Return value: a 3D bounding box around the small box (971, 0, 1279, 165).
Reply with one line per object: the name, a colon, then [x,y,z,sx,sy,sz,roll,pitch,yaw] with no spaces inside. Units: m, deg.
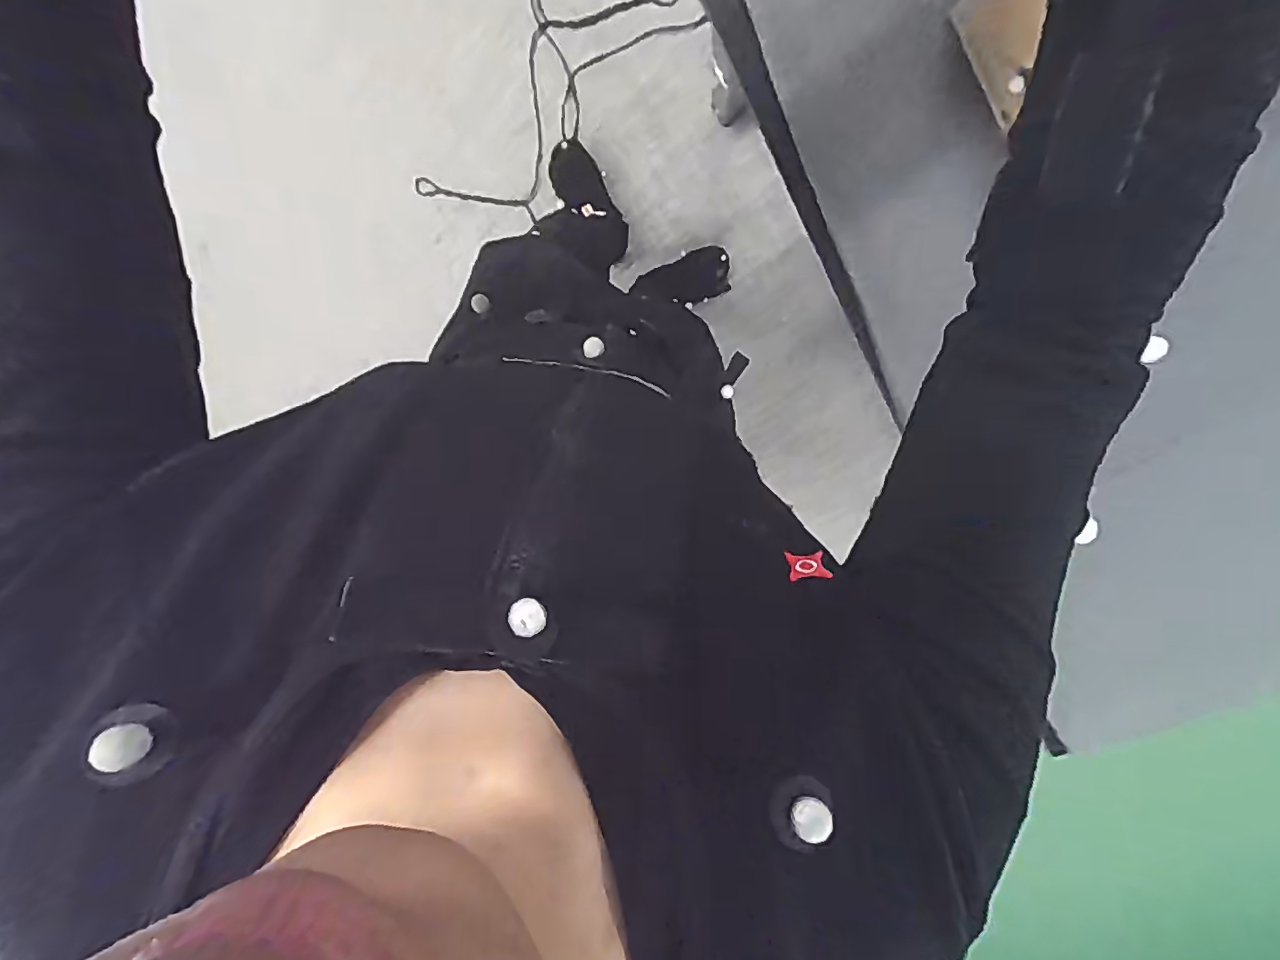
small box: [0.390,-0.371,0.413,0.179,0.176,0.168,-33,110,20]
